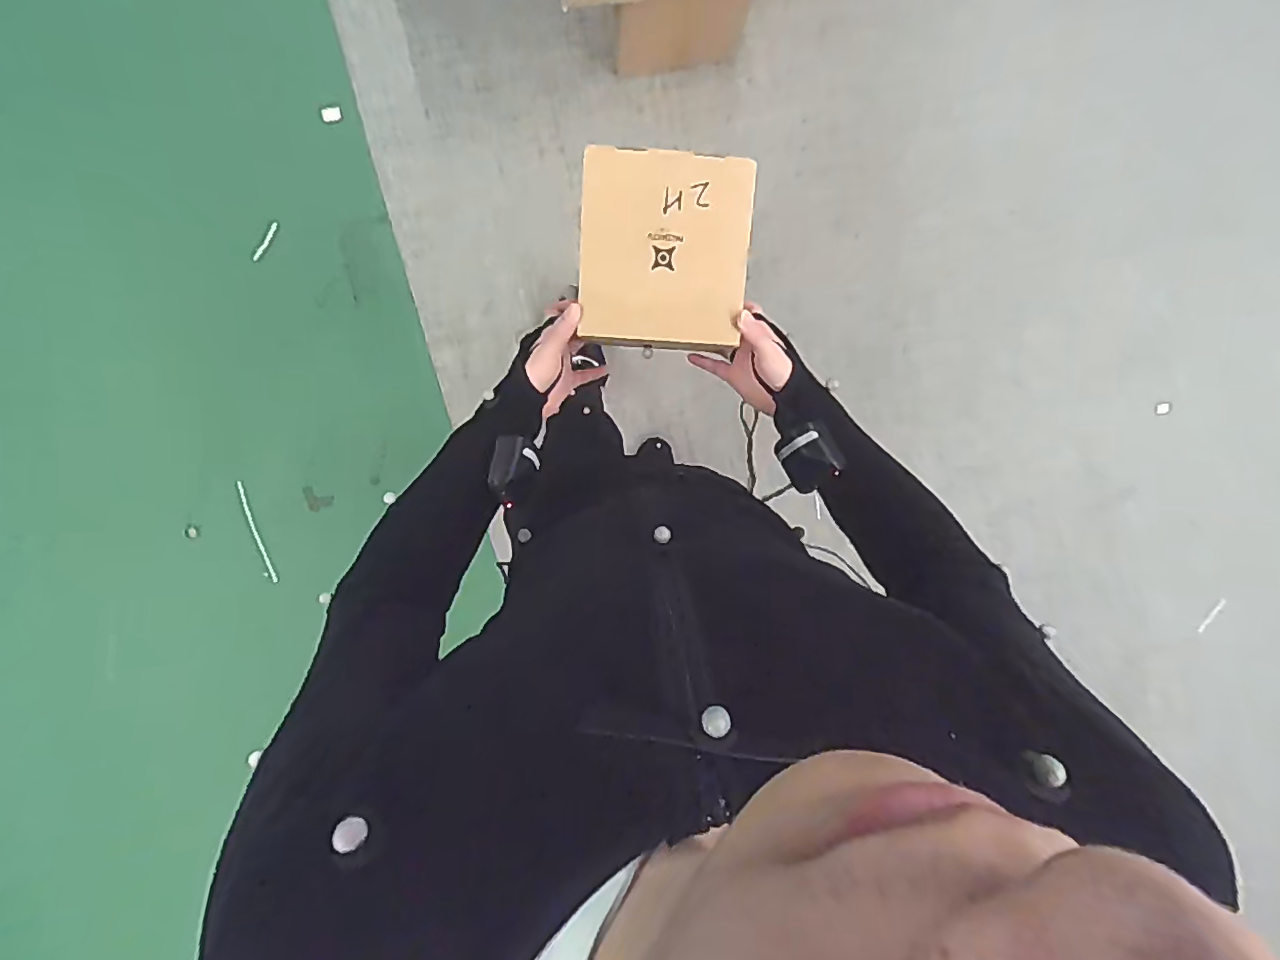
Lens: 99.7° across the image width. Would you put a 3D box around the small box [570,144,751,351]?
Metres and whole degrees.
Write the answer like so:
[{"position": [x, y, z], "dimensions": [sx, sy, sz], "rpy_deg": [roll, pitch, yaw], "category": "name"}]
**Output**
[{"position": [0.016, -0.240, 0.604], "dimensions": [0.168, 0.176, 0.179], "rpy_deg": [4, 101, -4], "category": "small box"}]
